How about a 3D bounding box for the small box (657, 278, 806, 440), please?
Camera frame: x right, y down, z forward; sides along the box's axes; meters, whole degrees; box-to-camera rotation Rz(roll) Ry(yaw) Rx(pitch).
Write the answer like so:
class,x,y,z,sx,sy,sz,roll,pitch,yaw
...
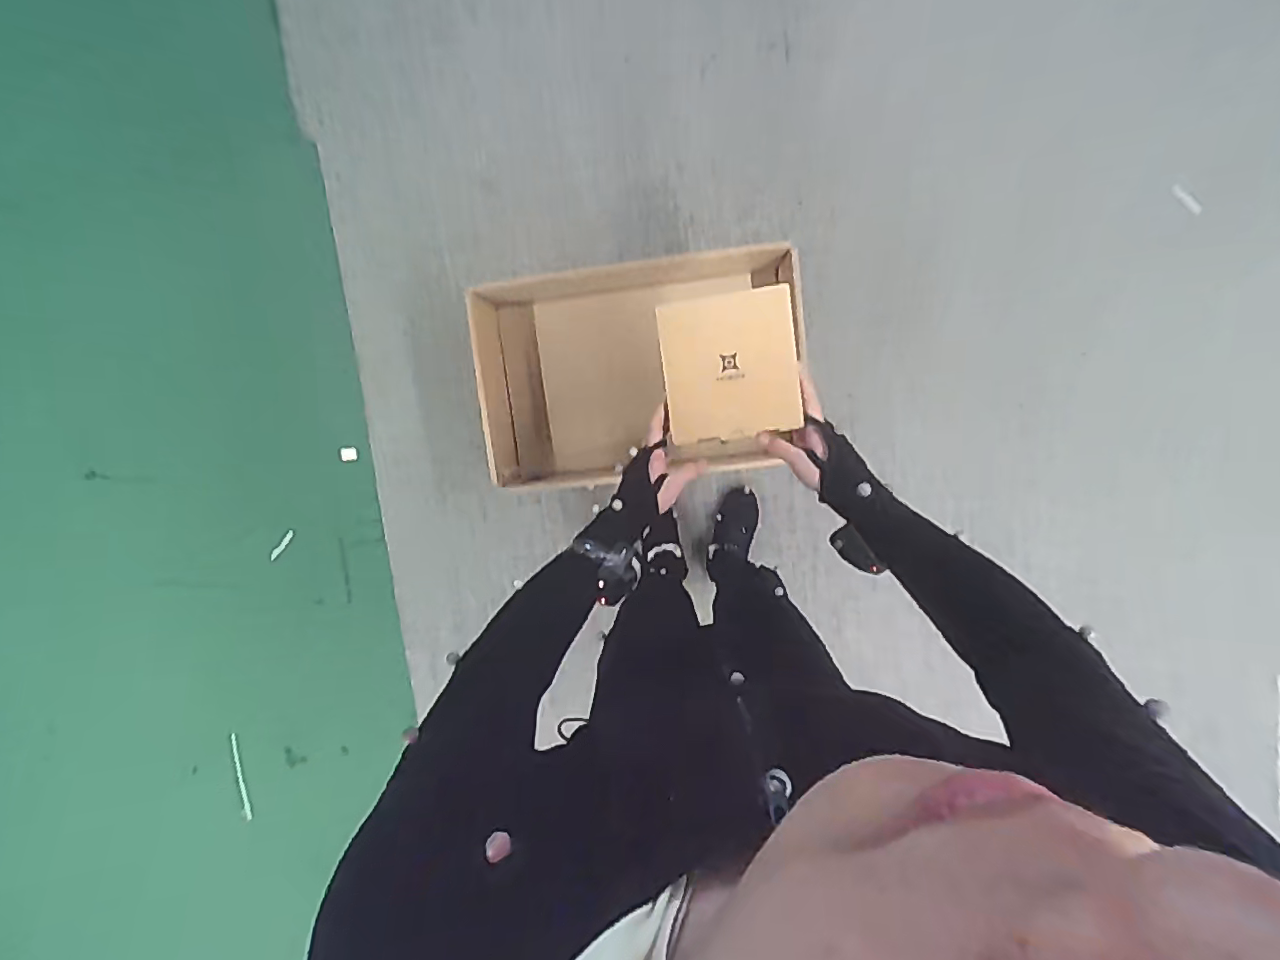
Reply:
class,x,y,z,sx,sy,sz,roll,pitch,yaw
small box,0.116,-0.152,0.730,0.168,0.176,0.179,-8,96,7
